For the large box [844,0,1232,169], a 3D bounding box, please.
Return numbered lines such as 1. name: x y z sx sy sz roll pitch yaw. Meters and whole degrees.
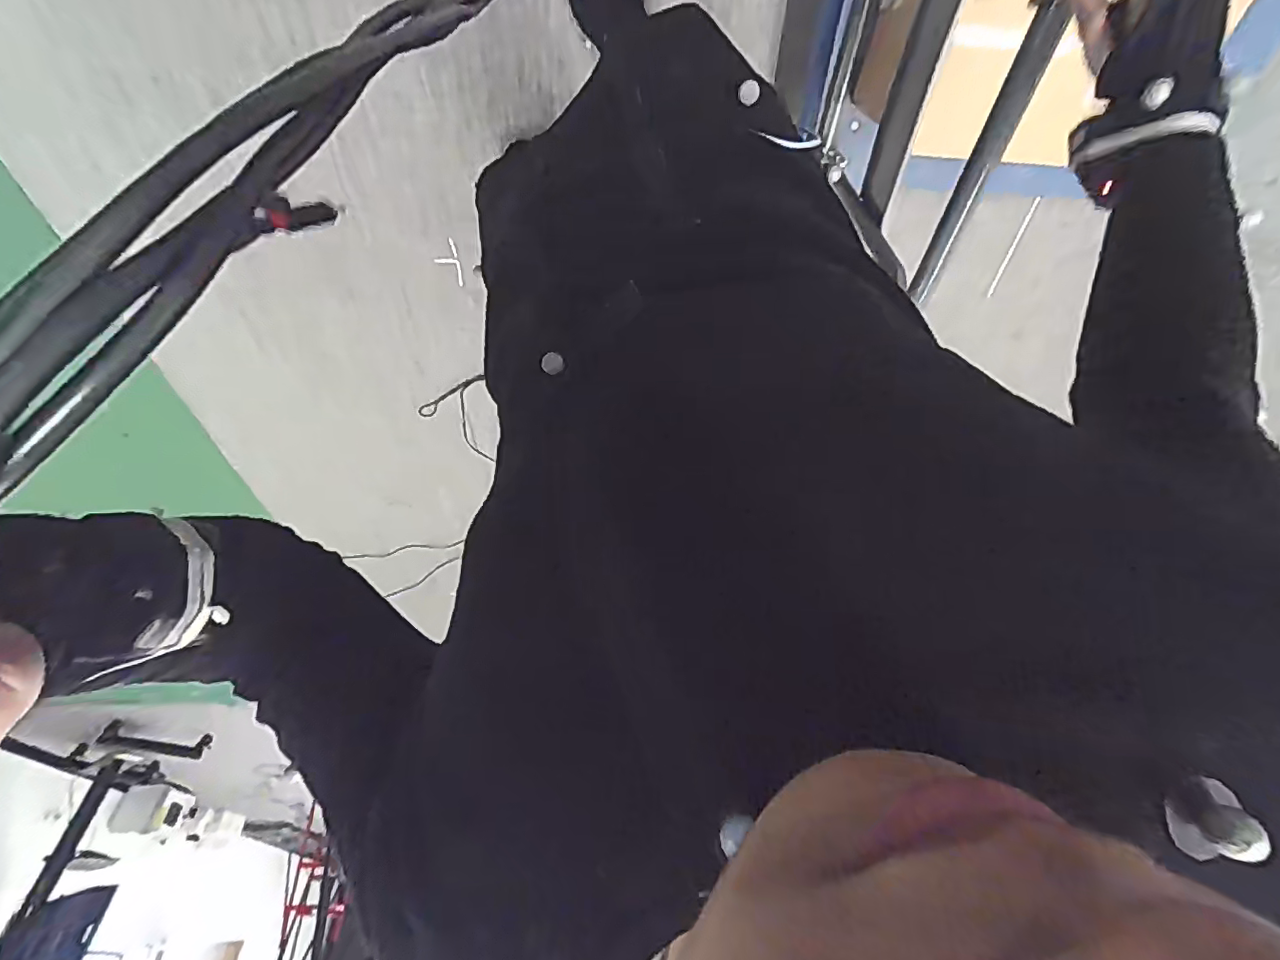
1. large box: 0.616 -0.739 0.888 0.408 0.320 0.320 1 137 -5
